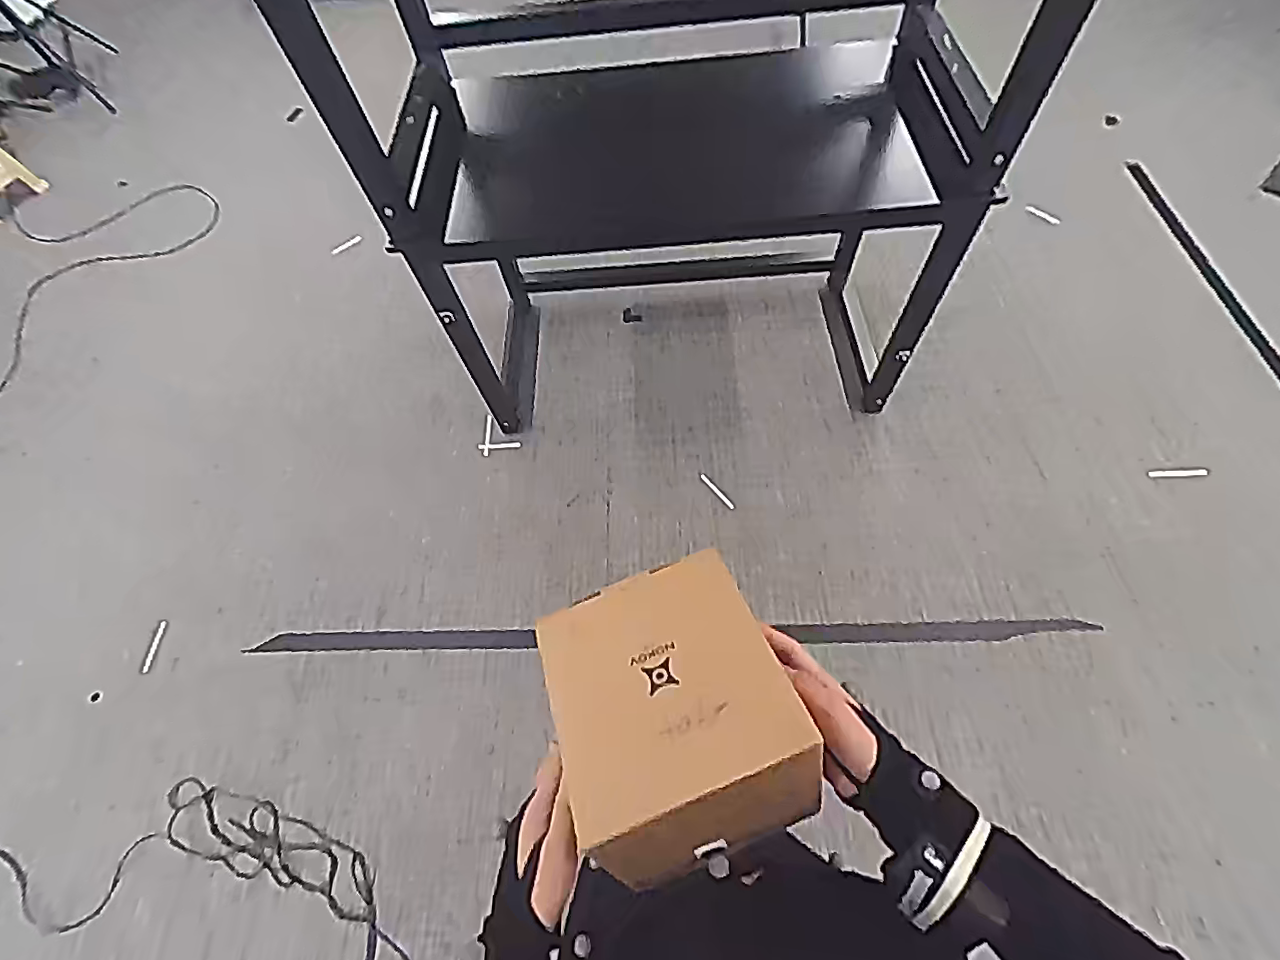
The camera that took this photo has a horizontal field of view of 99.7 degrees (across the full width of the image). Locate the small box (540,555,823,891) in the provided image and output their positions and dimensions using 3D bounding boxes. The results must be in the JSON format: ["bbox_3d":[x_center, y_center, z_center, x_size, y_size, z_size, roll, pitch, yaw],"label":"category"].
[{"bbox_3d":[0.033,0.202,0.454,0.168,0.176,0.179,-23,44,-5],"label":"small box"}]
